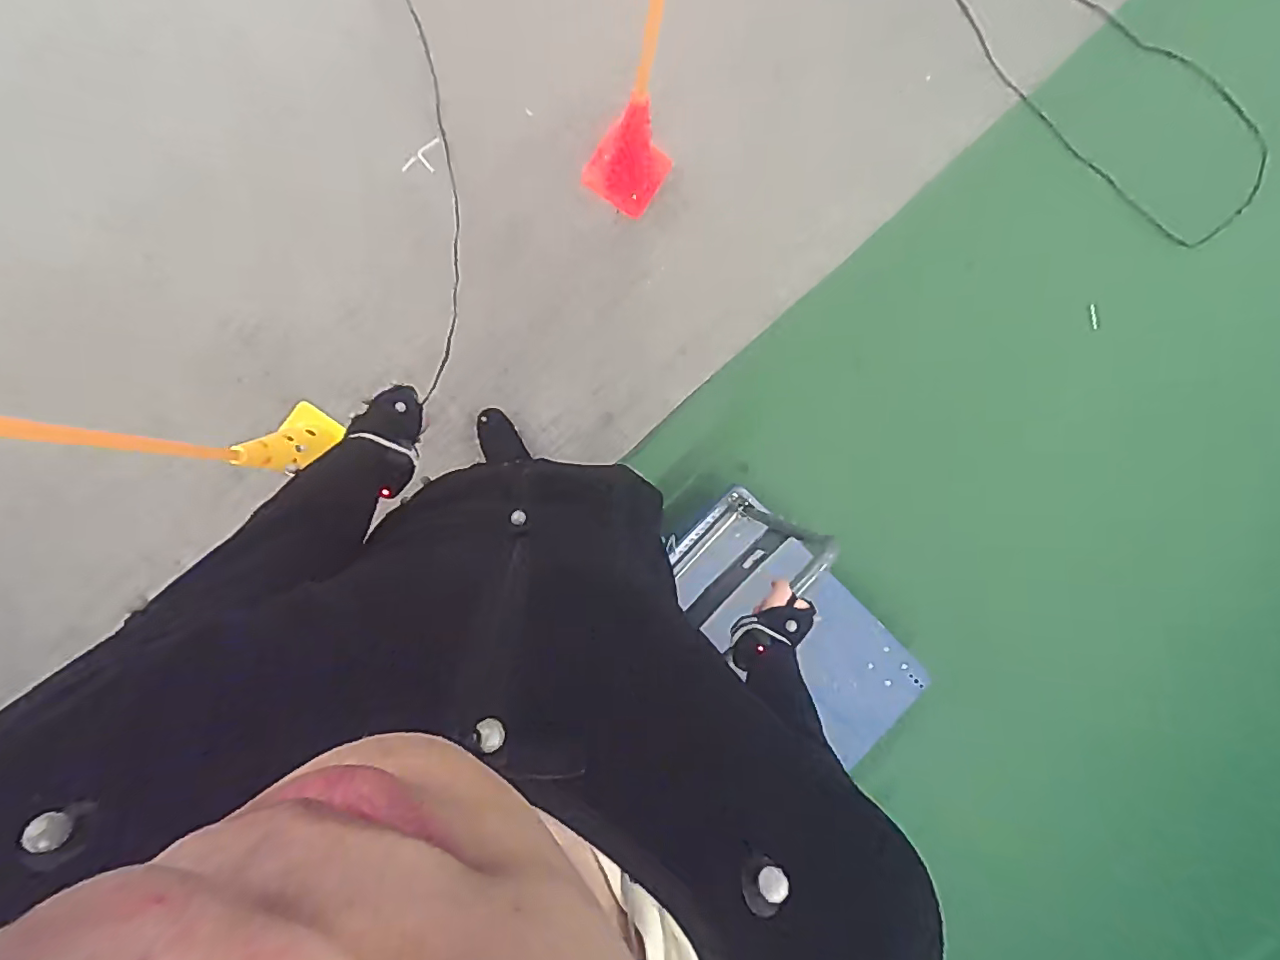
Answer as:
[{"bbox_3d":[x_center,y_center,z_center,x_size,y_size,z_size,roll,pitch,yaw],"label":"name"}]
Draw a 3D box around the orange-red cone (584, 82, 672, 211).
[{"bbox_3d":[-0.010,-0.871,1.353,0.198,0.360,0.199,34,90,-10],"label":"orange-red cone"}]
